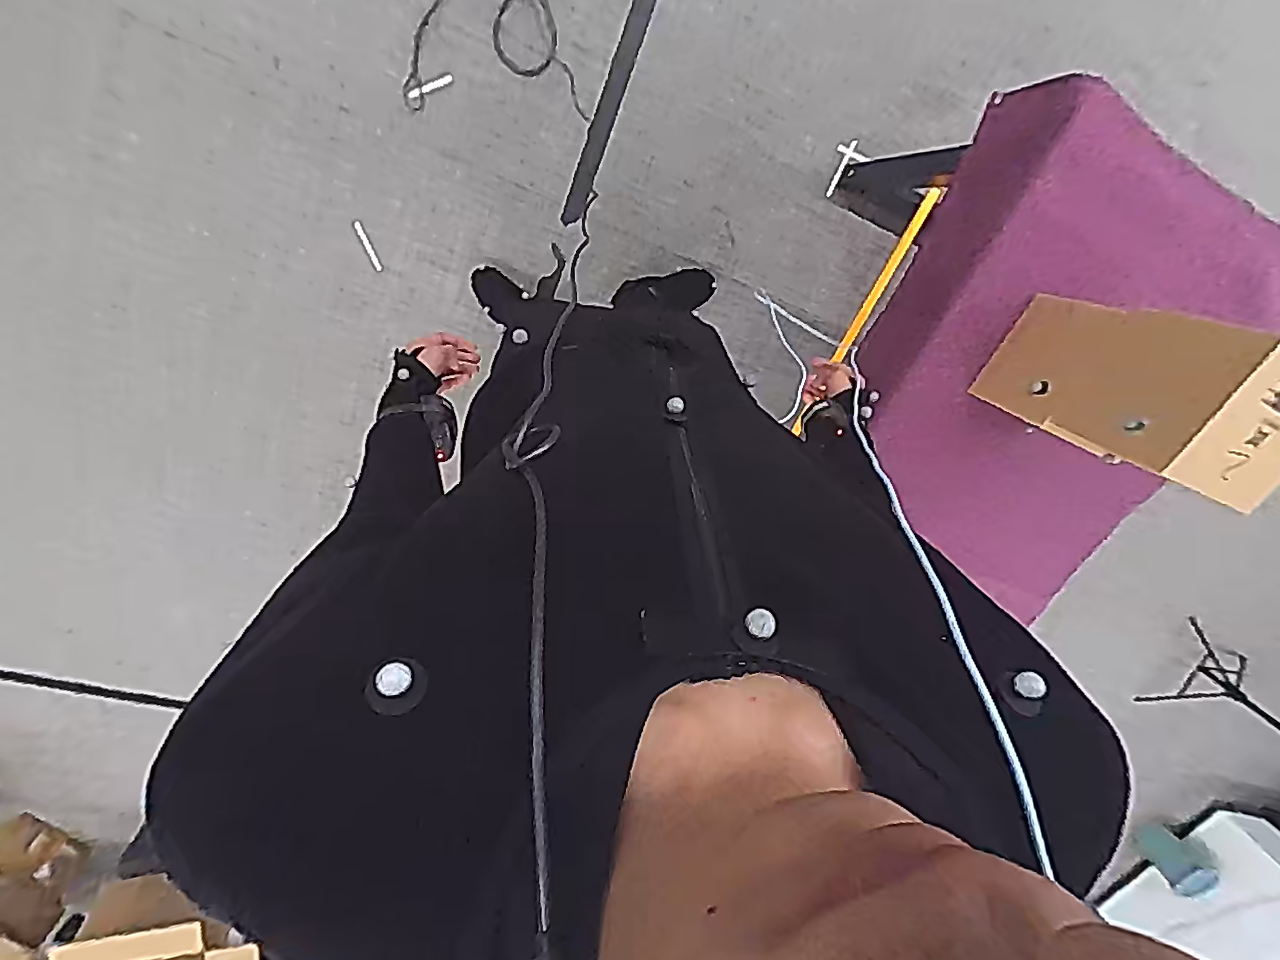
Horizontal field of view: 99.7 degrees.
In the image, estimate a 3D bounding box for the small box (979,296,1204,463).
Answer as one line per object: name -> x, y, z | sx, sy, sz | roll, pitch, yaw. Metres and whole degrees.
small box -> 0.670, -0.159, 0.832 | 0.168, 0.176, 0.179 | 20, 113, -17
